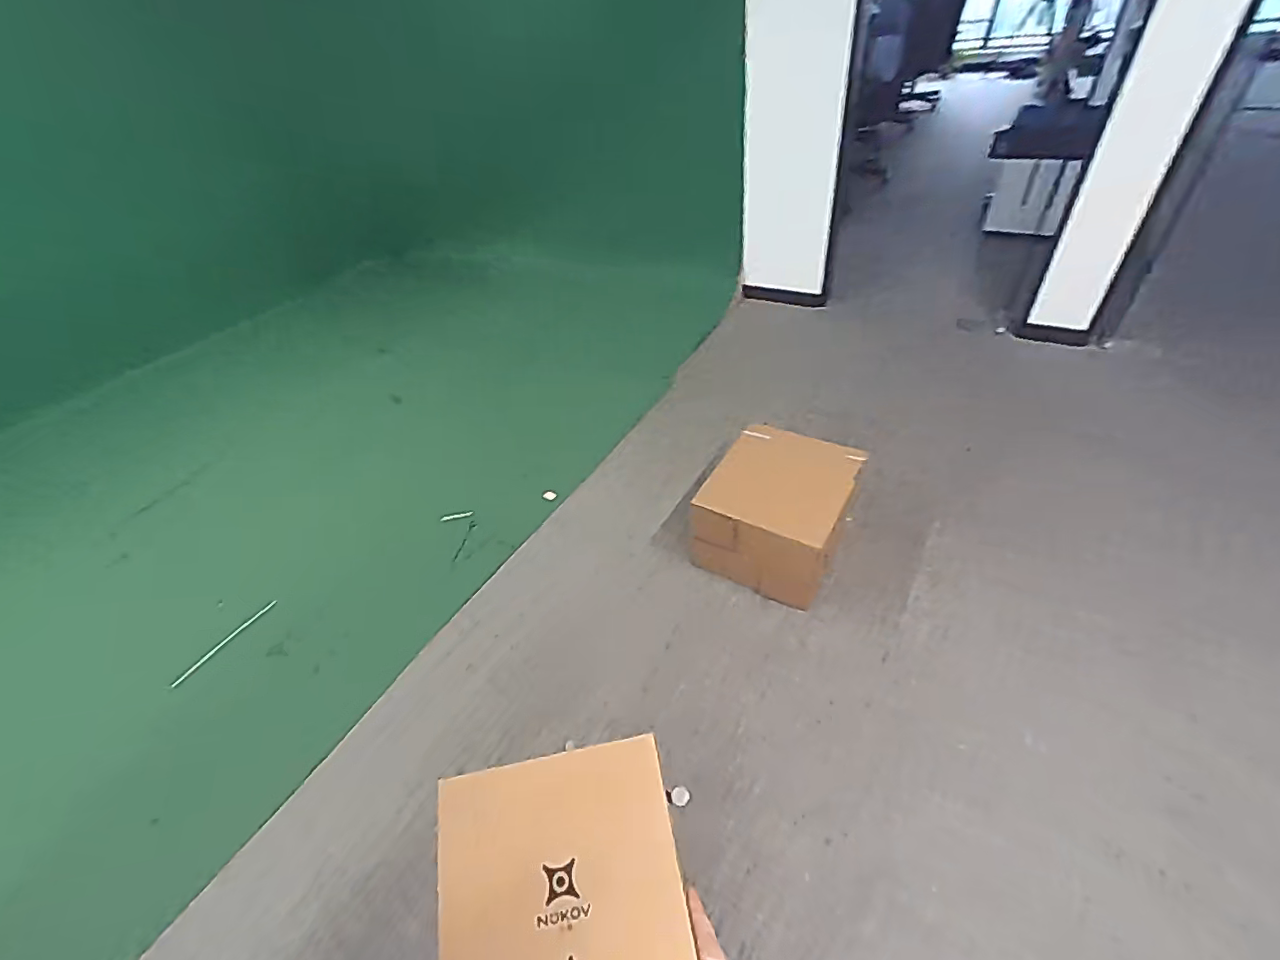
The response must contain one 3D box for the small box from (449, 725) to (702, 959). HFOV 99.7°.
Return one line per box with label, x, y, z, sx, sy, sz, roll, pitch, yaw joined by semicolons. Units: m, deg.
small box;-0.047;0.318;0.442;0.168;0.176;0.179;-10;60;-3
